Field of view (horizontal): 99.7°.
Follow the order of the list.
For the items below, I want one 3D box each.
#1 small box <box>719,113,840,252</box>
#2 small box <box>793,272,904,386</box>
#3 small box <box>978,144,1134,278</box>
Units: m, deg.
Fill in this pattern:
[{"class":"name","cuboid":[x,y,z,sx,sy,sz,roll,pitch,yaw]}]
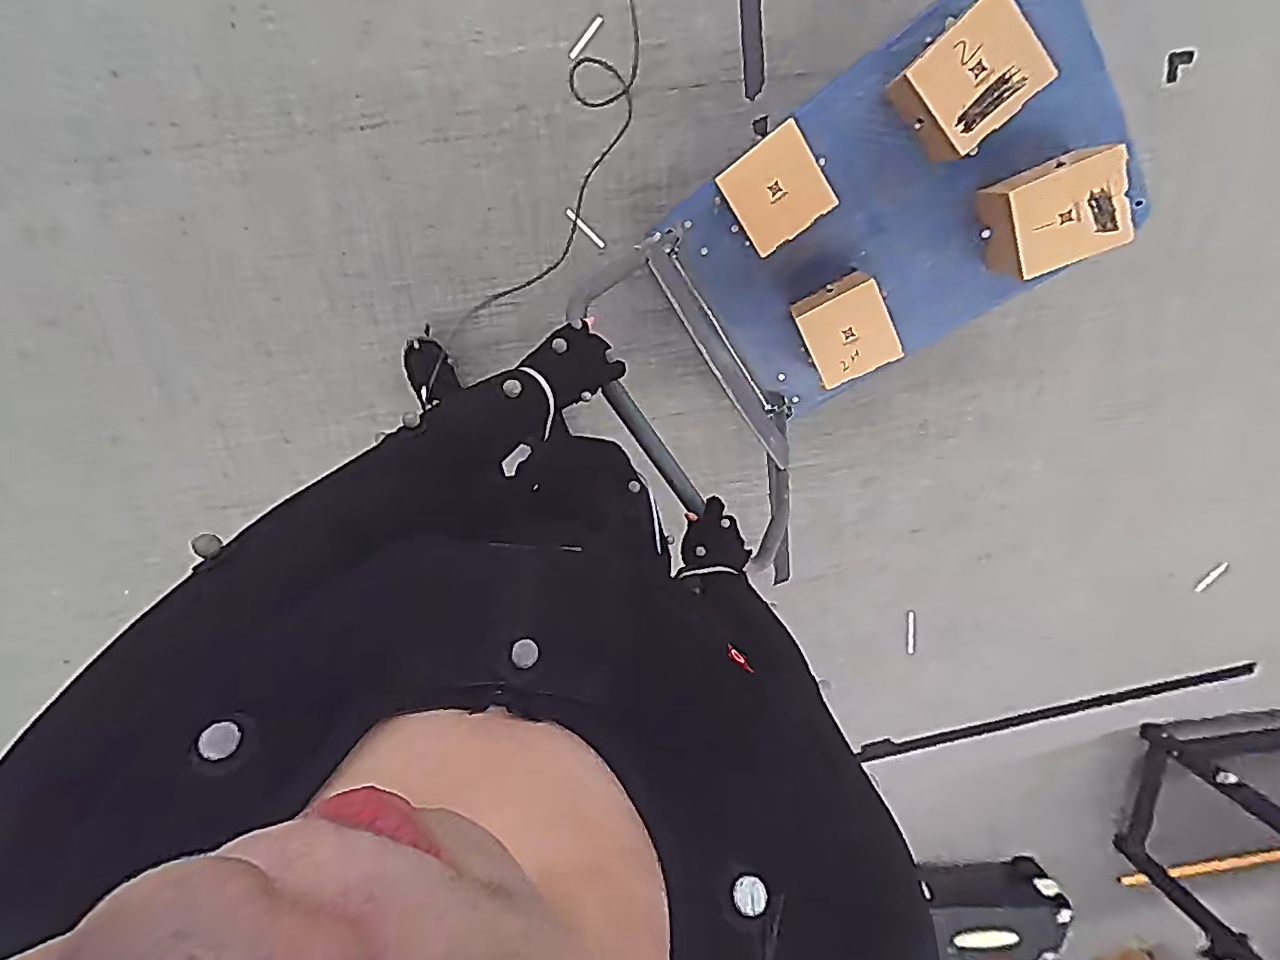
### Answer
[{"class":"small box","cuboid":[0.272,-0.586,1.082,0.168,0.176,0.179,-31,109,23]},{"class":"small box","cuboid":[0.444,-0.335,1.175,0.168,0.176,0.179,-24,110,22]},{"class":"small box","cuboid":[0.777,-0.505,1.022,0.179,0.176,0.168,-18,112,20]}]
